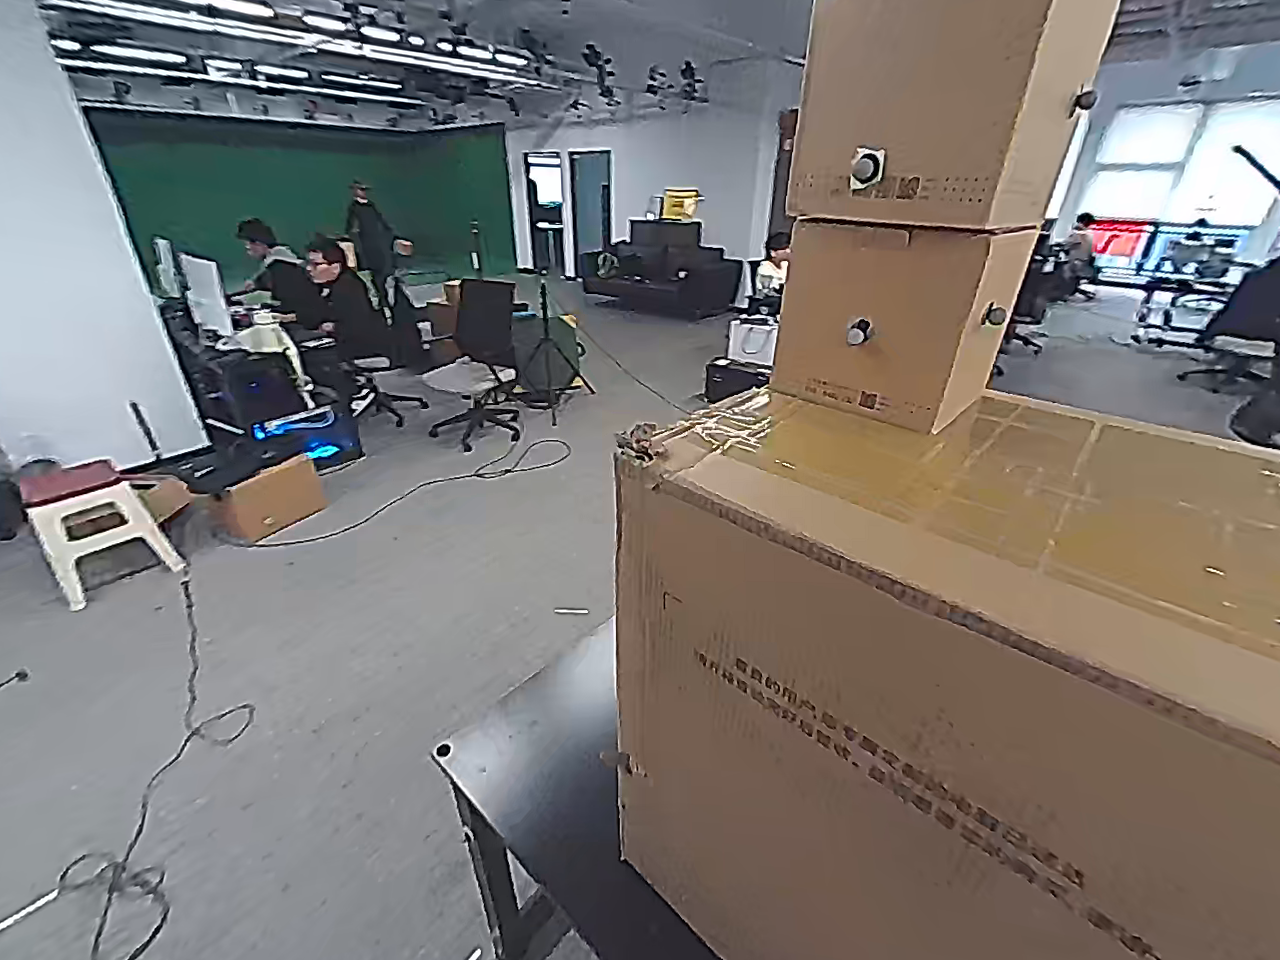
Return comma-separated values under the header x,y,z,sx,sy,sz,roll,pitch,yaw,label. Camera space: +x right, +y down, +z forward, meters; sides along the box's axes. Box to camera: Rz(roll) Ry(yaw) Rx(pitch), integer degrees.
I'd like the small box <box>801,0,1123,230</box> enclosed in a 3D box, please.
x,y,z,sx,sy,sz,roll,pitch,yaw,label
0.250,-0.304,0.440,0.168,0.176,0.179,25,36,38,small box

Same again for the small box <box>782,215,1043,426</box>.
x,y,z,sx,sy,sz,roll,pitch,yaw,label
0.255,-0.166,0.530,0.168,0.176,0.179,25,36,35,small box
